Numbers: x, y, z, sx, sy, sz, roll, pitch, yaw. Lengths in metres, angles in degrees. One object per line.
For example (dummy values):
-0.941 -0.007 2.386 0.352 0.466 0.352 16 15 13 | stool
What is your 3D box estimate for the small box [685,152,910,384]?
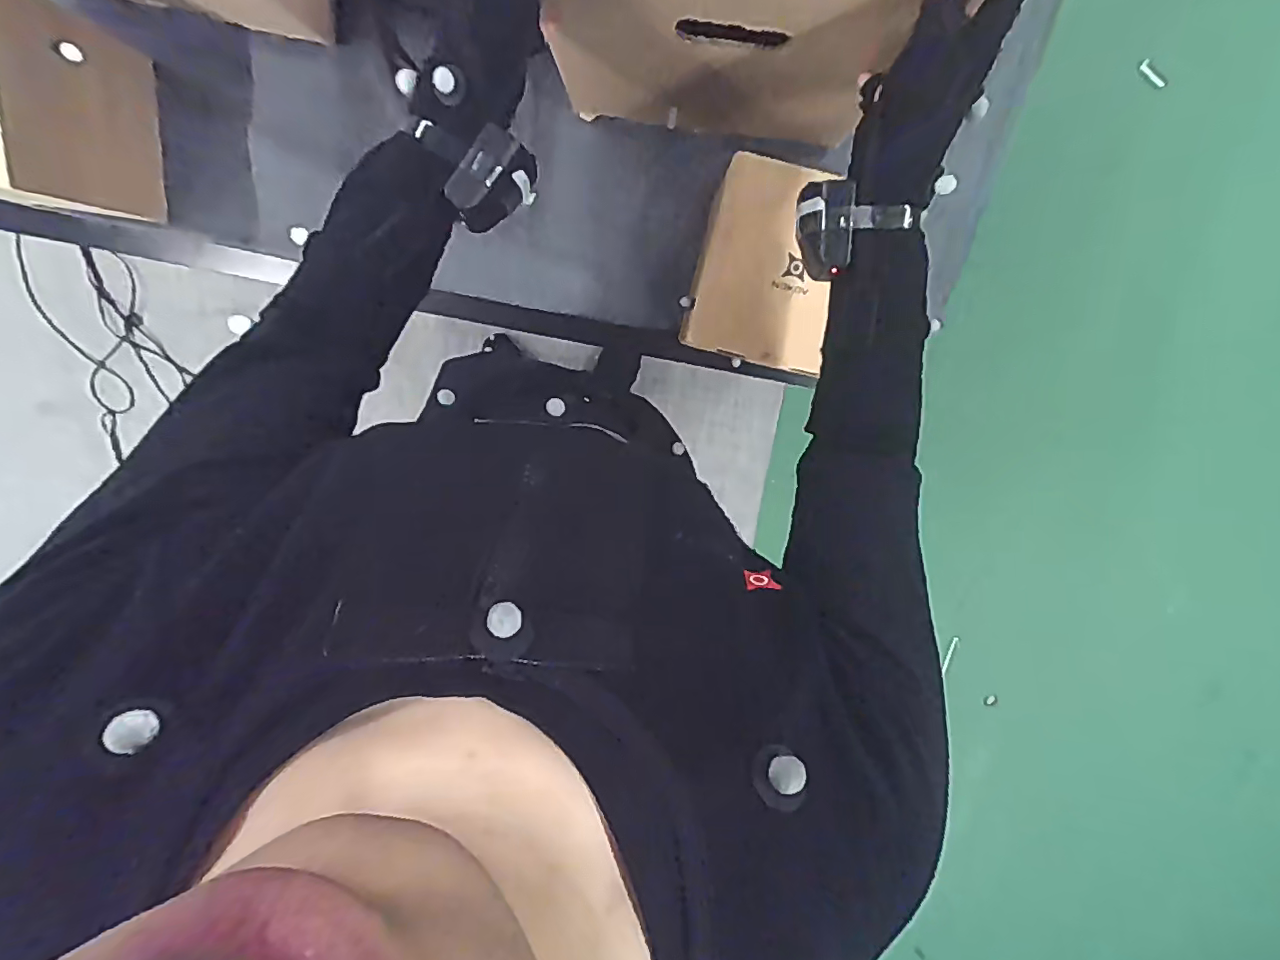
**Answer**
0.149 -0.217 0.586 0.168 0.176 0.179 13 107 -2 | small box
